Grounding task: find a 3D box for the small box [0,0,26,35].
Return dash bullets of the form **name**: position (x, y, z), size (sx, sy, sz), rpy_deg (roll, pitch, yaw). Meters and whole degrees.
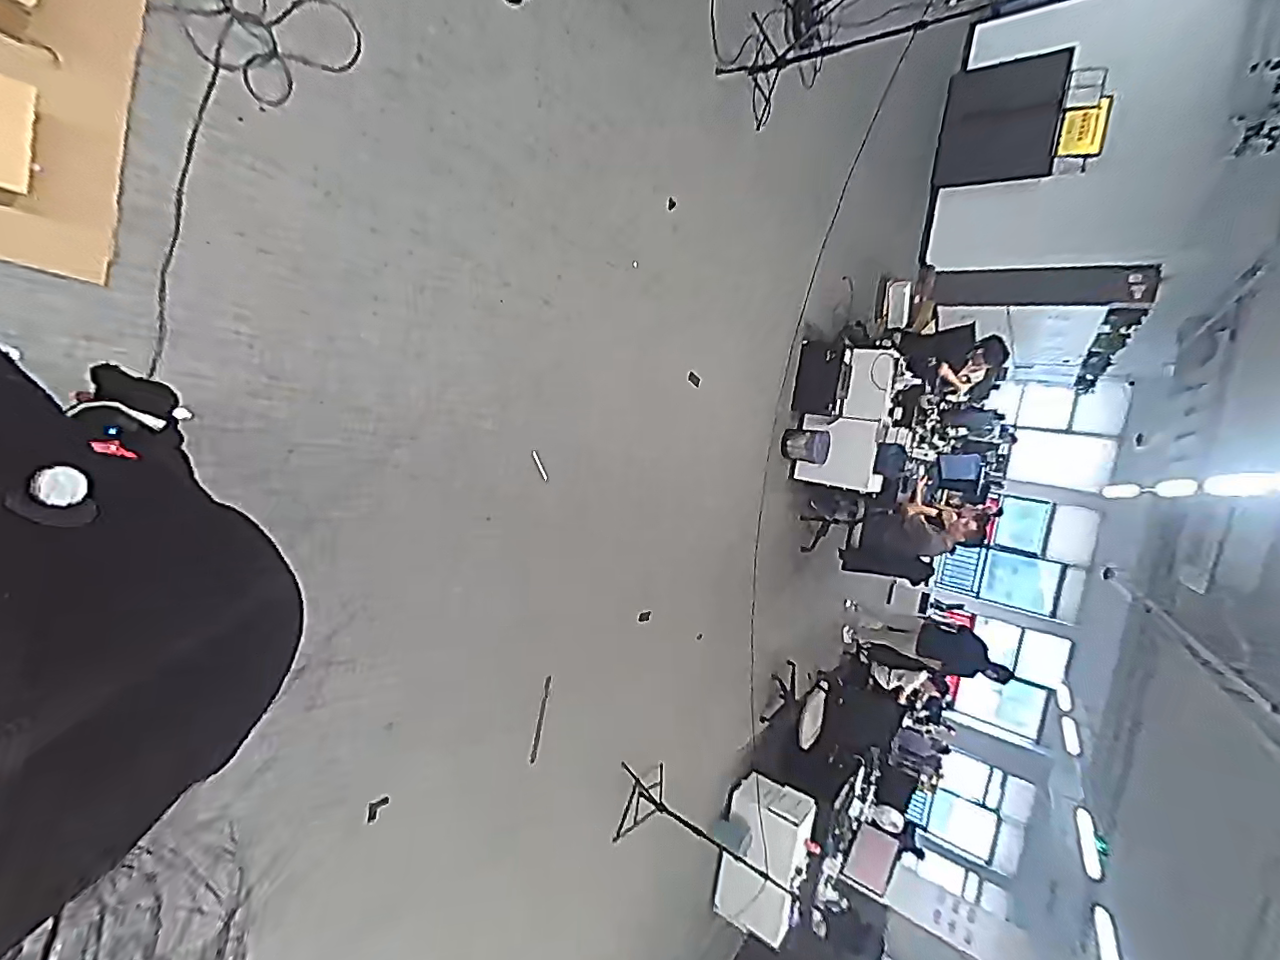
- **small box**: position (-1.027, -0.821, 0.802), size (0.168, 0.176, 0.179), rpy_deg (11, 91, -53)
